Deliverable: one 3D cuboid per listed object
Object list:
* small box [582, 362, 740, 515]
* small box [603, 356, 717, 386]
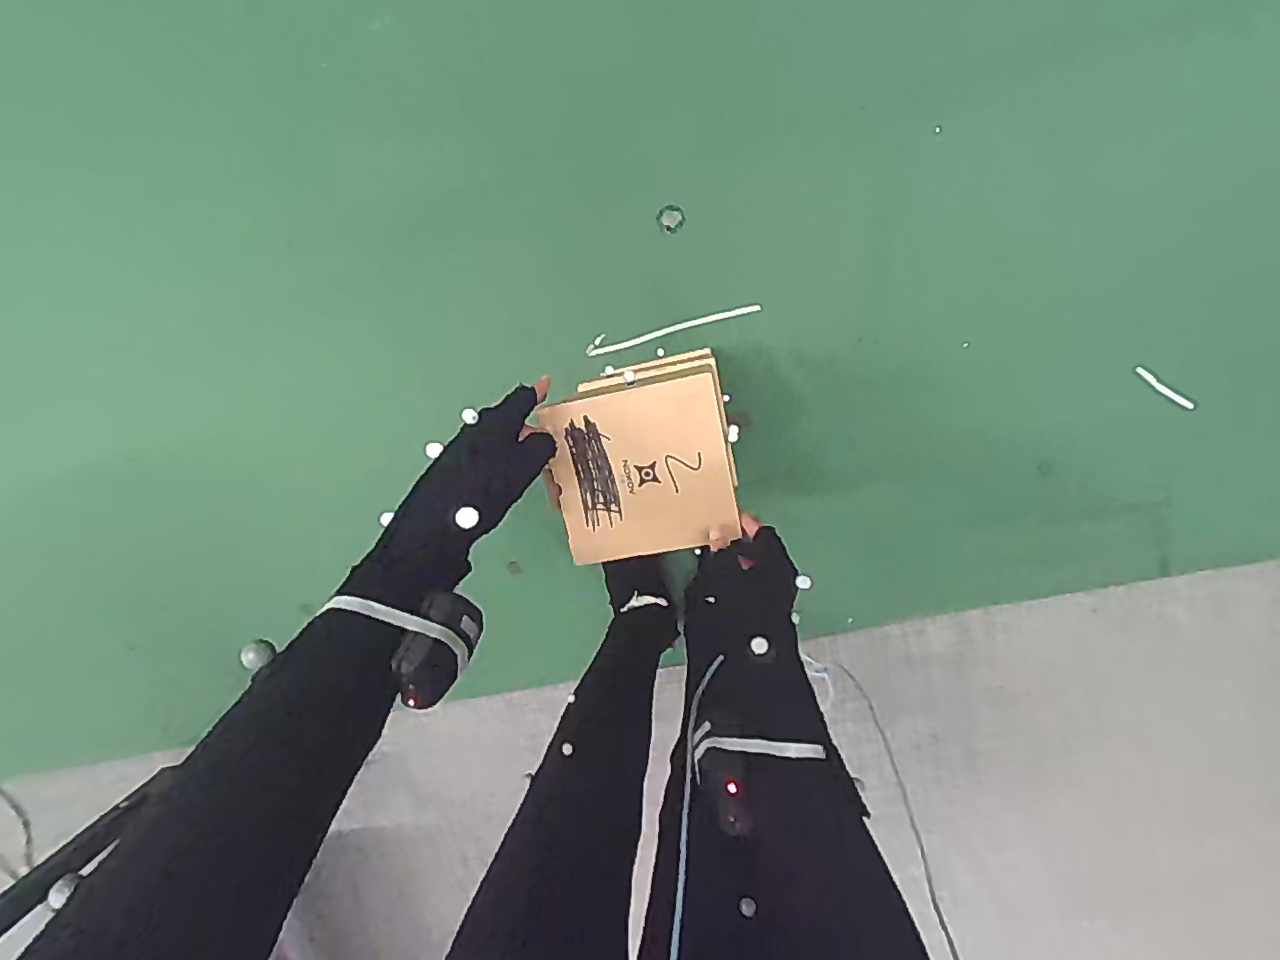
[{"bbox_3d":[0.035,-0.066,0.755,0.179,0.176,0.168,-10,103,9],"label":"small box"},{"bbox_3d":[0.050,-0.111,0.910,0.179,0.176,0.168,-11,102,9],"label":"small box"}]
